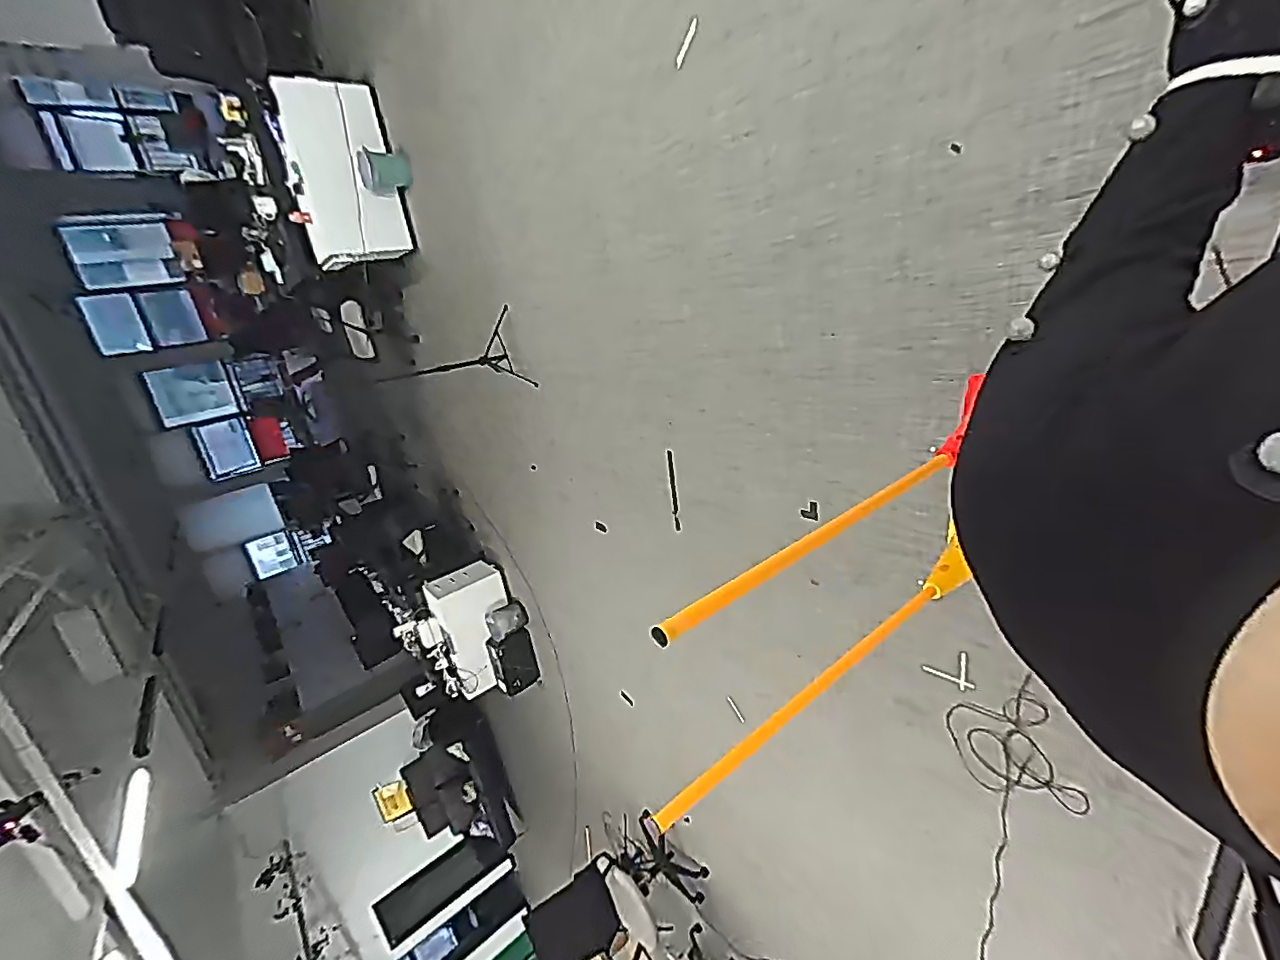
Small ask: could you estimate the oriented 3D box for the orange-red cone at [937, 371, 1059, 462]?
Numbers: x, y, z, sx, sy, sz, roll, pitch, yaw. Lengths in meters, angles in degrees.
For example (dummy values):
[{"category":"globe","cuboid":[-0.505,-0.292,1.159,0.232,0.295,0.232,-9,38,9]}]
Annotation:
[{"category":"orange-red cone","cuboid":[0.771,-0.112,1.235,0.198,0.360,0.199,23,125,44]}]
